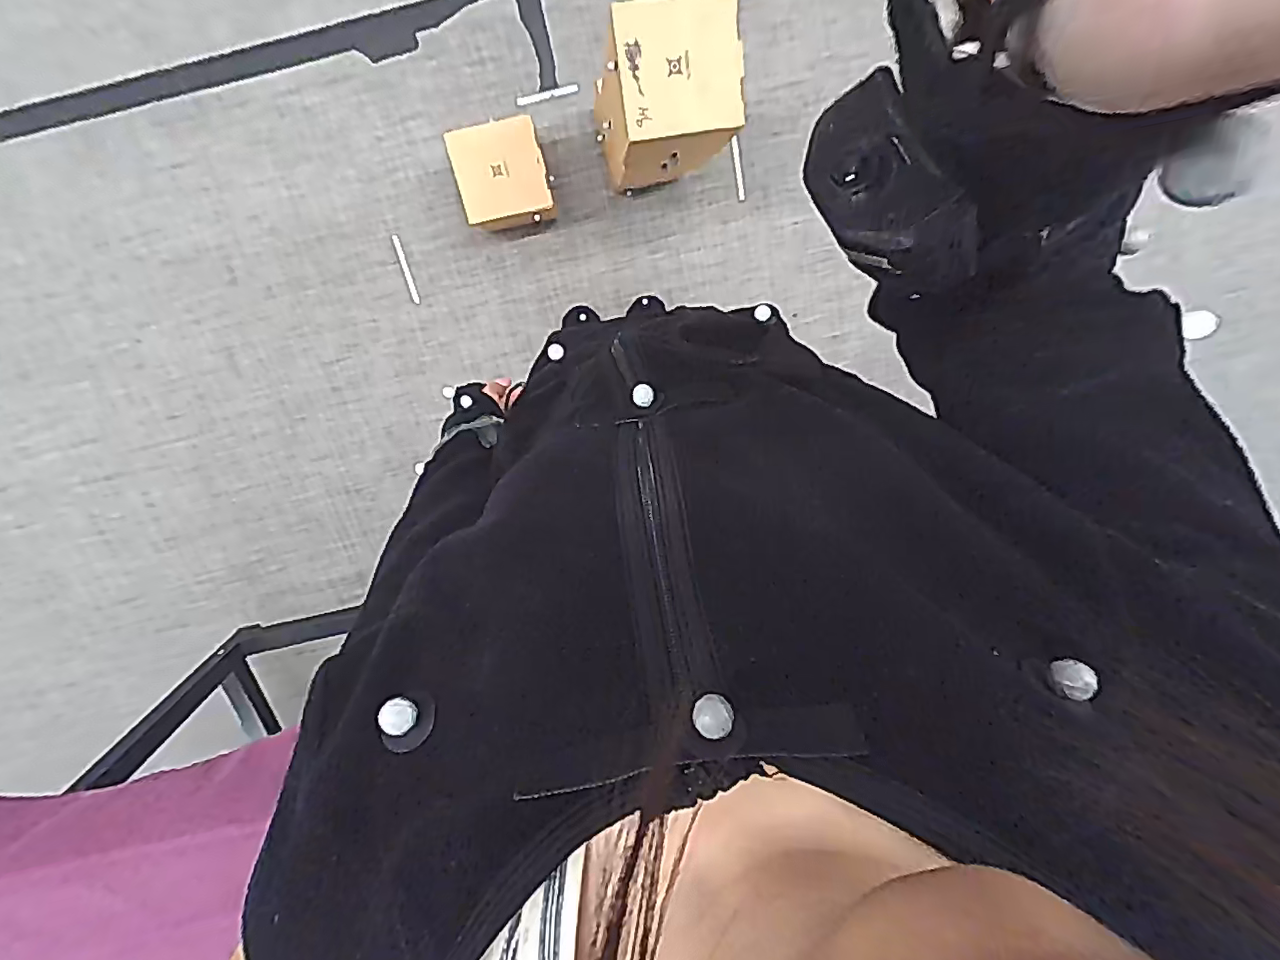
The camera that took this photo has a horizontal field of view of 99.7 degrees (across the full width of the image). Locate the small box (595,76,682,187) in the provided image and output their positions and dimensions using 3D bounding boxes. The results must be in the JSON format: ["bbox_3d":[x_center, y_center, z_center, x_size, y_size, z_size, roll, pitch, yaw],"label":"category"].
[{"bbox_3d":[0.007,-0.729,1.128,0.168,0.176,0.179,-15,110,-1],"label":"small box"}]

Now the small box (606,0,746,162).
[{"bbox_3d":[0.050,-0.603,0.827,0.179,0.176,0.168,-10,110,-4],"label":"small box"}]

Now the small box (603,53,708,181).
[{"bbox_3d":[0.032,-0.660,0.980,0.179,0.176,0.168,-13,111,-2],"label":"small box"}]

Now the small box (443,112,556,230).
[{"bbox_3d":[-0.283,-0.636,1.131,0.179,0.176,0.168,-14,110,-1],"label":"small box"}]
